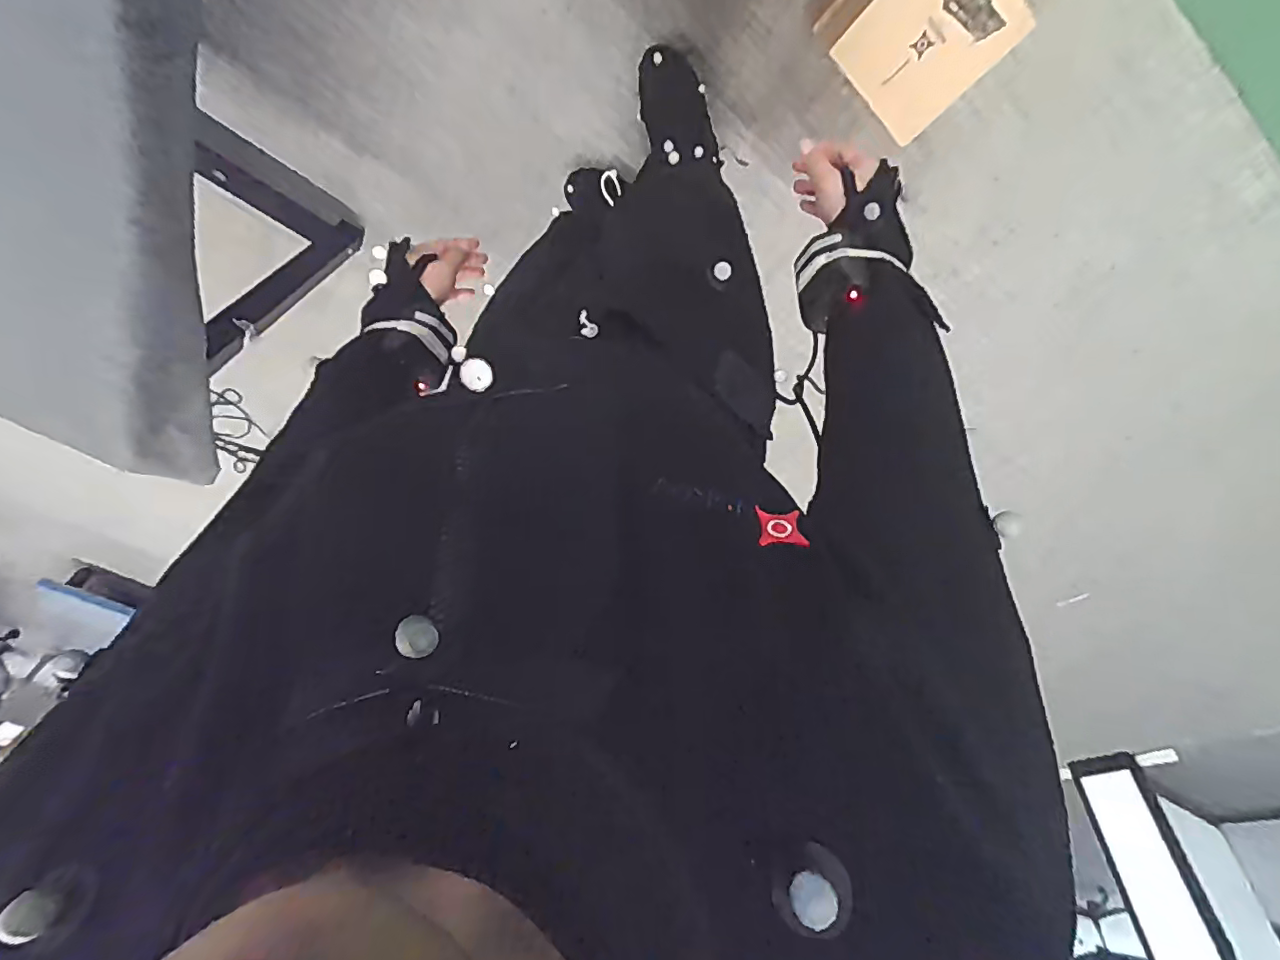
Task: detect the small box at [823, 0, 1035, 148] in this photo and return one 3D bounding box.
[{"bbox_3d":[0.366,-0.595,0.718,0.168,0.176,0.179,35,131,-22],"label":"small box"}]

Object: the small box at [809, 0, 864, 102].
[{"bbox_3d":[0.381,-0.715,0.830,0.168,0.176,0.179,35,132,-22],"label":"small box"}]
